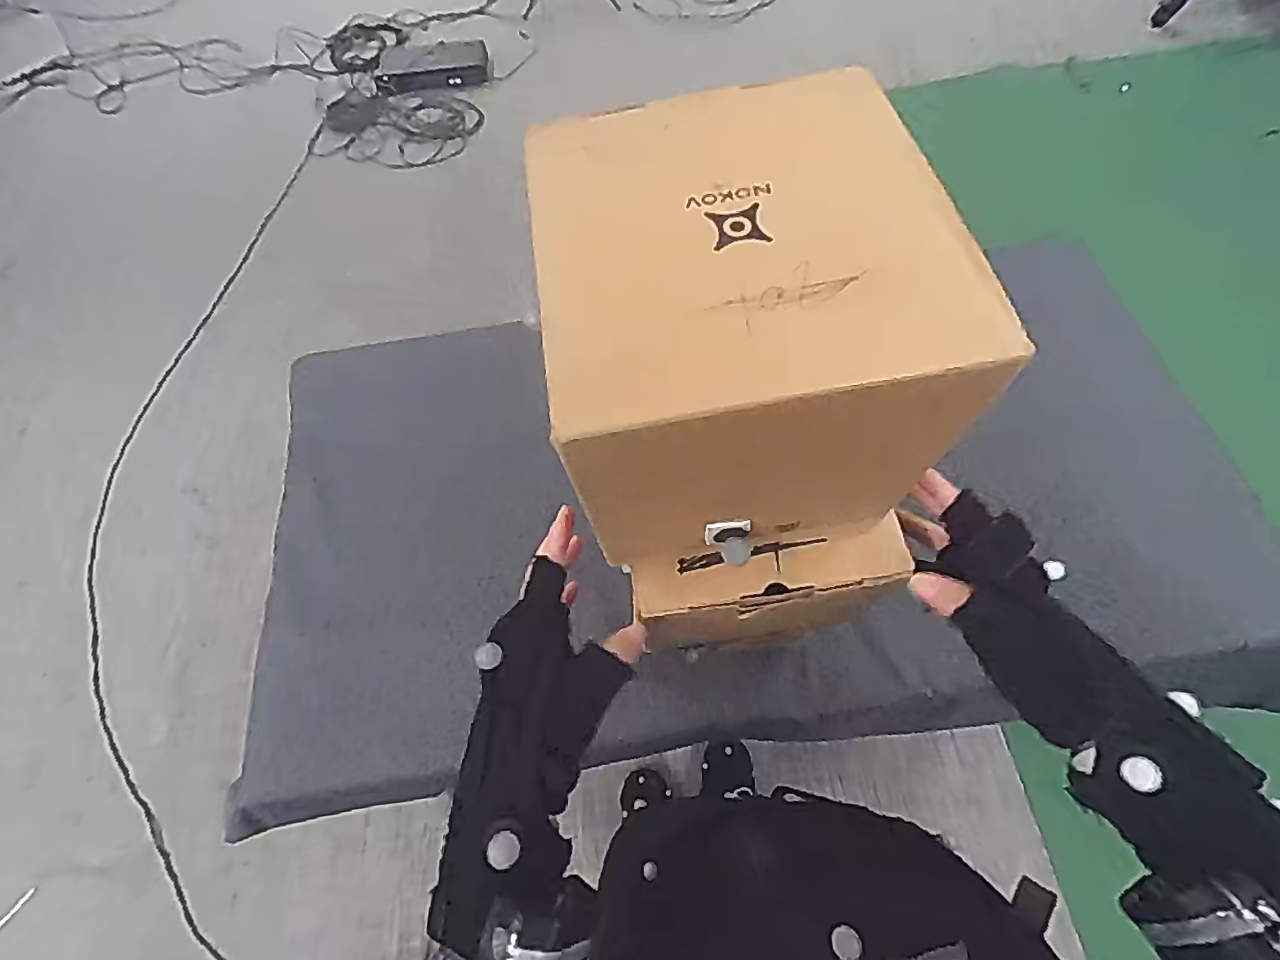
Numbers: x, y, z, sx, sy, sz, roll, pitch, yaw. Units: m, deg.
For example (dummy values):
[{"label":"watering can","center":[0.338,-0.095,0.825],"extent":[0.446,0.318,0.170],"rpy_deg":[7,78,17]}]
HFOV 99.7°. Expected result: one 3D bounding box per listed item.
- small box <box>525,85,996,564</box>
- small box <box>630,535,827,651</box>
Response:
[{"label":"small box","center":[0.042,-0.070,0.302],"extent":[0.168,0.176,0.179],"rpy_deg":[-11,65,1]},{"label":"small box","center":[0.082,0.084,0.591],"extent":[0.179,0.176,0.168],"rpy_deg":[-6,63,1]}]
